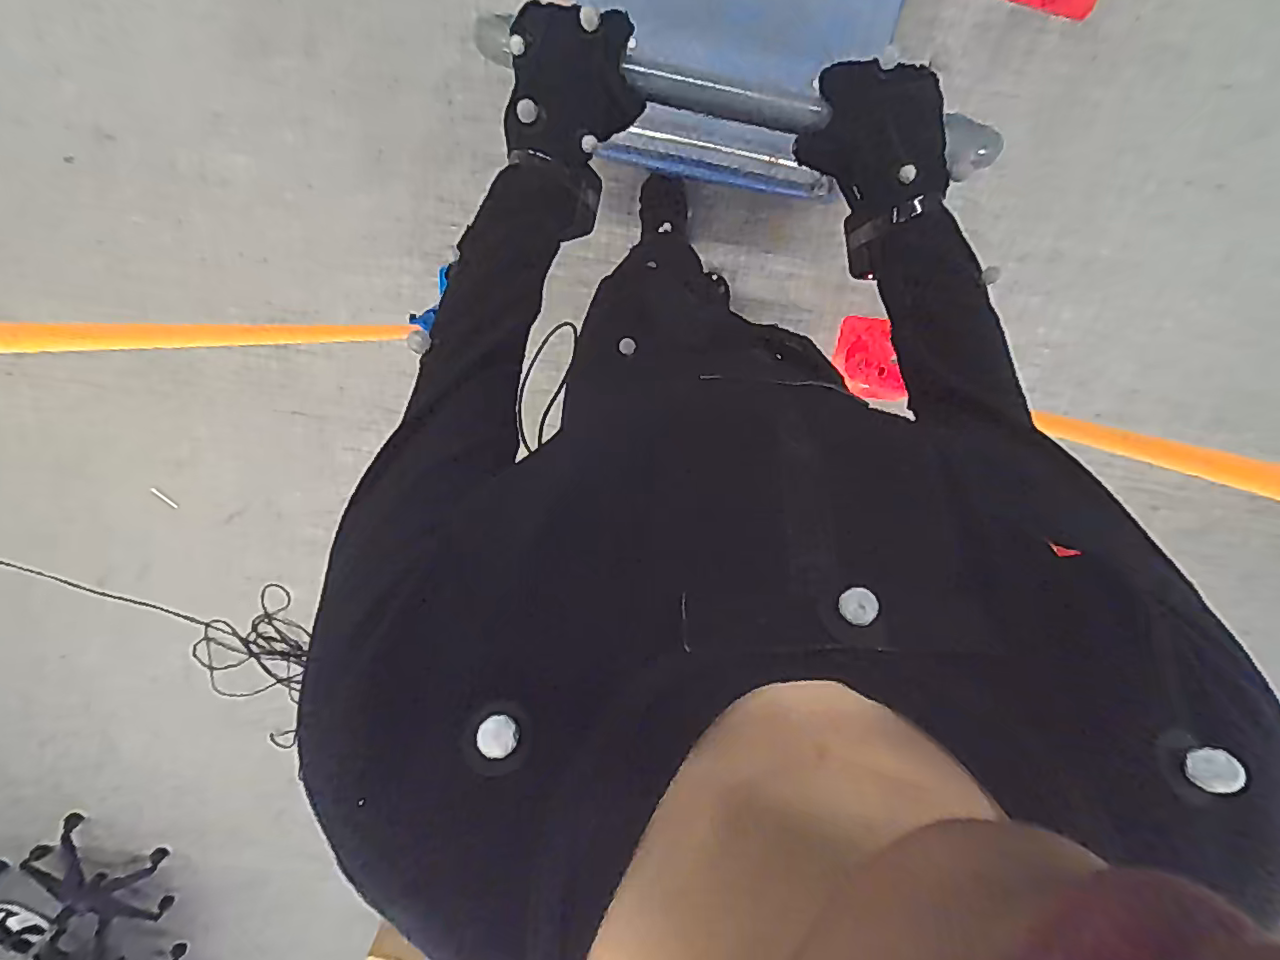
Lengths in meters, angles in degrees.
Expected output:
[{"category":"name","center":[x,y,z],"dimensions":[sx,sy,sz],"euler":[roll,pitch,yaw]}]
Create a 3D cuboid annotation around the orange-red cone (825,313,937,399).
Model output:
[{"category":"orange-red cone","center":[0.573,-0.247,1.216],"dimensions":[0.199,0.360,0.198],"euler":[9,113,1]}]
